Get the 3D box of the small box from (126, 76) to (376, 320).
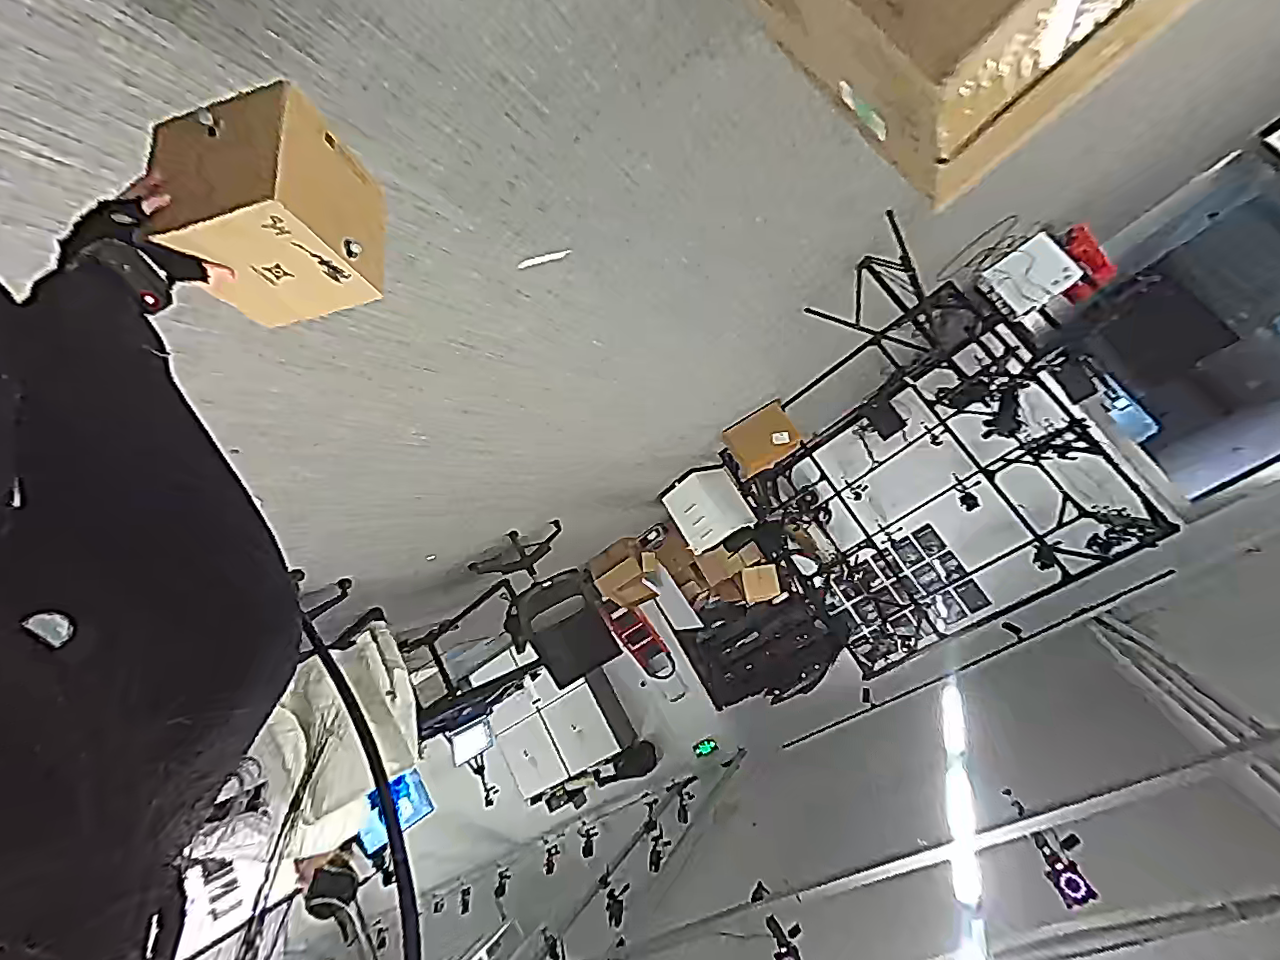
[{"bbox_3d":[-0.436,-0.321,0.637,0.179,0.176,0.168,-10,163,10],"label":"small box"}]
